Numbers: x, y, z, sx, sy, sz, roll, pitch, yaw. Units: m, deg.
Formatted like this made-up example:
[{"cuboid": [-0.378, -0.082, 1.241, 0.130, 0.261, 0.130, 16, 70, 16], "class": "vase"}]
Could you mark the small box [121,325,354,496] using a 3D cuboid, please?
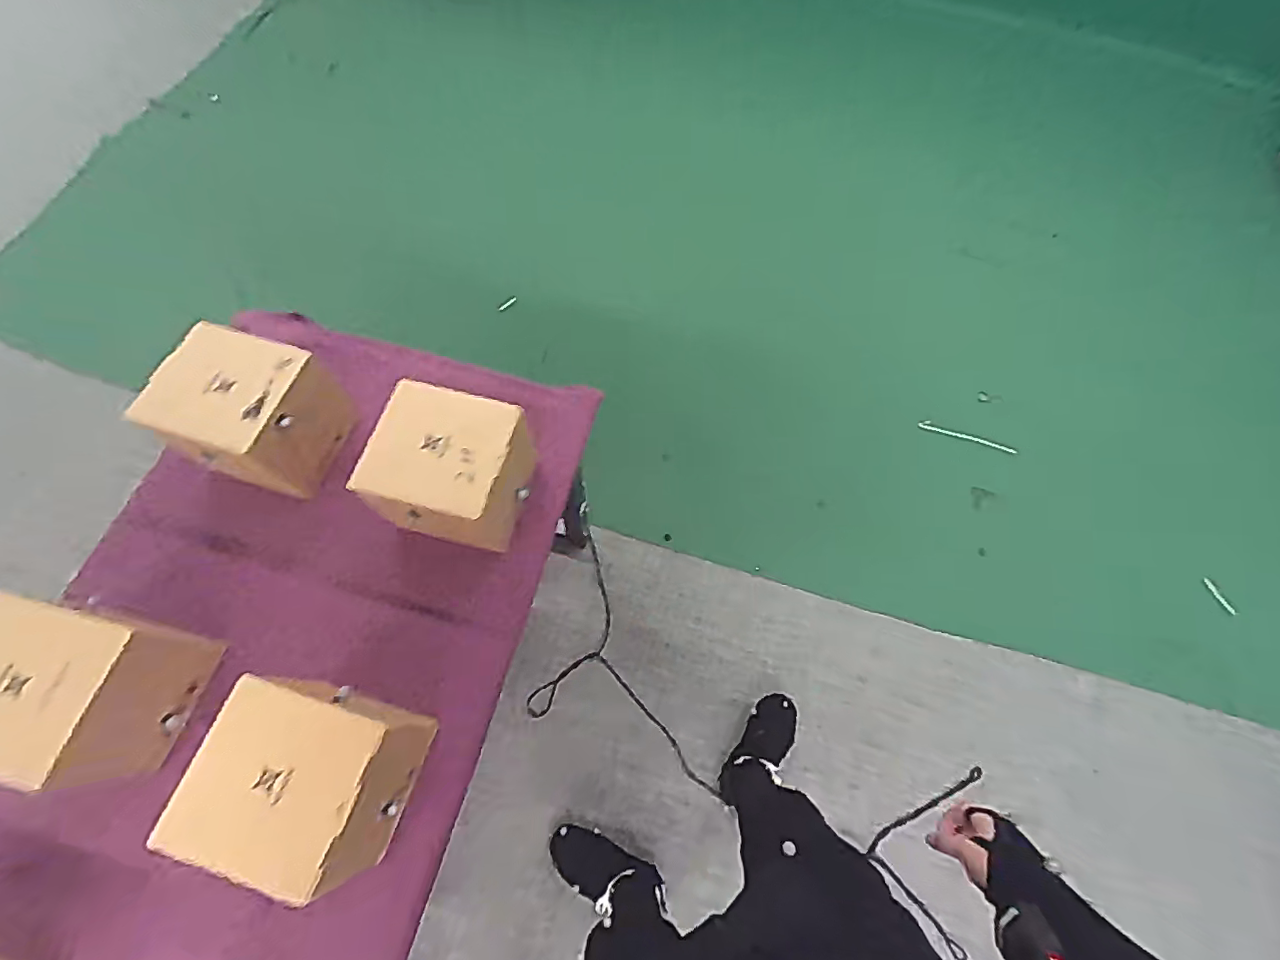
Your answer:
[{"cuboid": [-0.569, -0.093, 0.793, 0.179, 0.176, 0.168, 16, 68, 5], "class": "small box"}]

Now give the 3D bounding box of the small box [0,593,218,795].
[{"cuboid": [-0.672, 0.250, 0.642, 0.179, 0.176, 0.168, 15, 68, 3], "class": "small box"}]

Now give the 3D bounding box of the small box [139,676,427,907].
[{"cuboid": [-0.379, 0.338, 0.614, 0.179, 0.176, 0.168, 16, 67, 6], "class": "small box"}]

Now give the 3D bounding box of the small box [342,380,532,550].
[{"cuboid": [-0.270, -0.013, 0.766, 0.179, 0.176, 0.168, 14, 68, 4], "class": "small box"}]
